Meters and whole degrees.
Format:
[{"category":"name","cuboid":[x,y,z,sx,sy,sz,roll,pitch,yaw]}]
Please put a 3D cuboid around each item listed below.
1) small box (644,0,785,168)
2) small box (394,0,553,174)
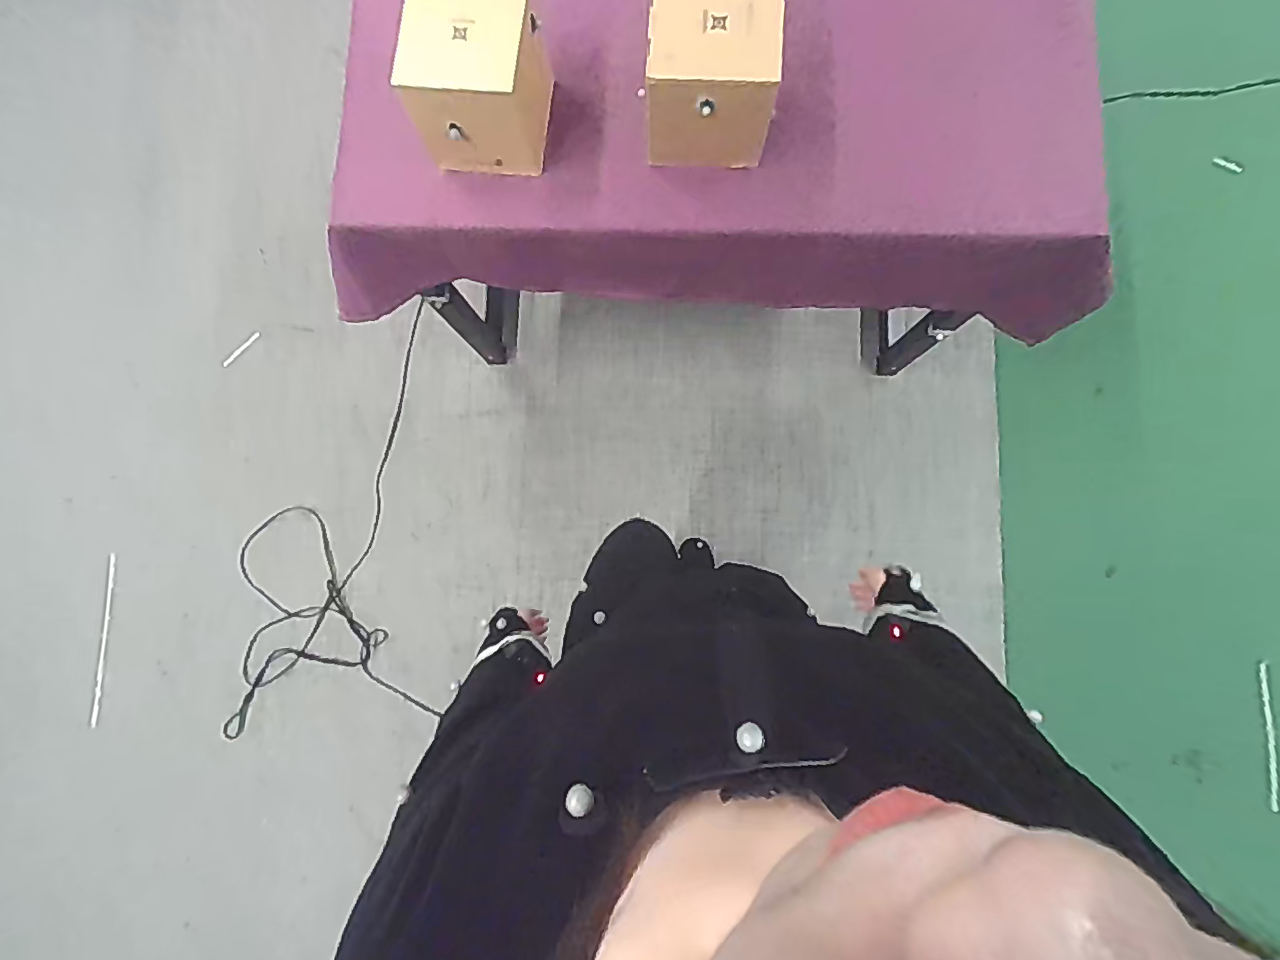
[{"category":"small box","cuboid":[0.102,-0.581,0.779,0.179,0.176,0.168,4,84,3]},{"category":"small box","cuboid":[-0.232,-0.584,0.796,0.168,0.176,0.179,6,83,3]}]
